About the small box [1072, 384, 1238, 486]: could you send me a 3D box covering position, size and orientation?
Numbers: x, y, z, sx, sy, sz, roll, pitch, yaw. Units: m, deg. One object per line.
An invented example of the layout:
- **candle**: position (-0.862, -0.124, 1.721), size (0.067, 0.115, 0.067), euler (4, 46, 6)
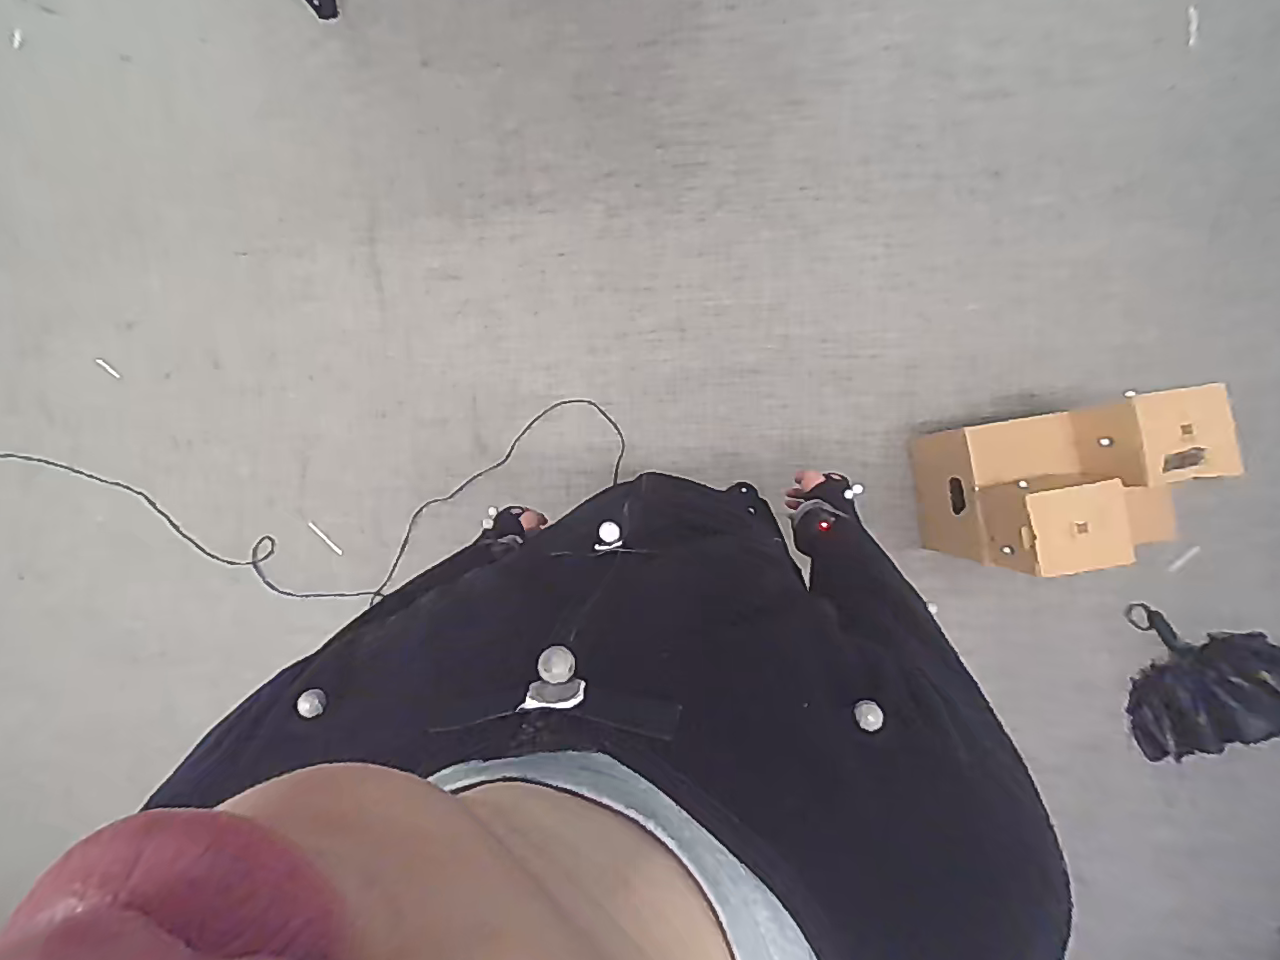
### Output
- **small box**: position (1.022, -0.082, 1.089), size (0.168, 0.176, 0.179), euler (-7, 86, 5)

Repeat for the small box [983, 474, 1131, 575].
- **small box**: position (0.835, 0.085, 1.106), size (0.179, 0.176, 0.168), euler (-12, 92, 4)
